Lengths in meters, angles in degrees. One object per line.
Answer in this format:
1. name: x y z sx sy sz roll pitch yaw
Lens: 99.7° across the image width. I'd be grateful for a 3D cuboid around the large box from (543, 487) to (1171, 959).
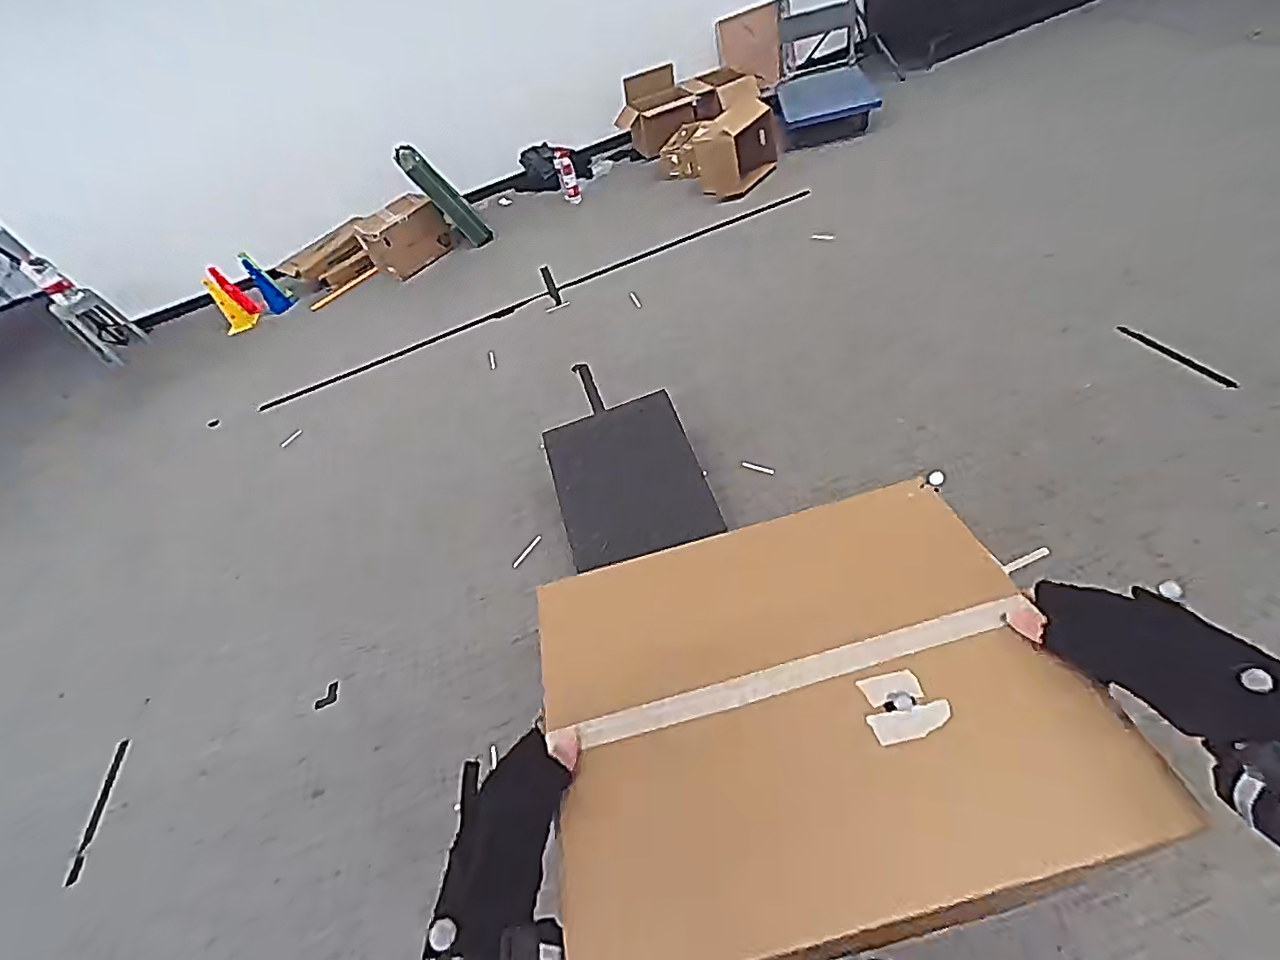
1. large box: 0.148 0.265 0.550 0.408 0.320 0.320 -15 45 -2
